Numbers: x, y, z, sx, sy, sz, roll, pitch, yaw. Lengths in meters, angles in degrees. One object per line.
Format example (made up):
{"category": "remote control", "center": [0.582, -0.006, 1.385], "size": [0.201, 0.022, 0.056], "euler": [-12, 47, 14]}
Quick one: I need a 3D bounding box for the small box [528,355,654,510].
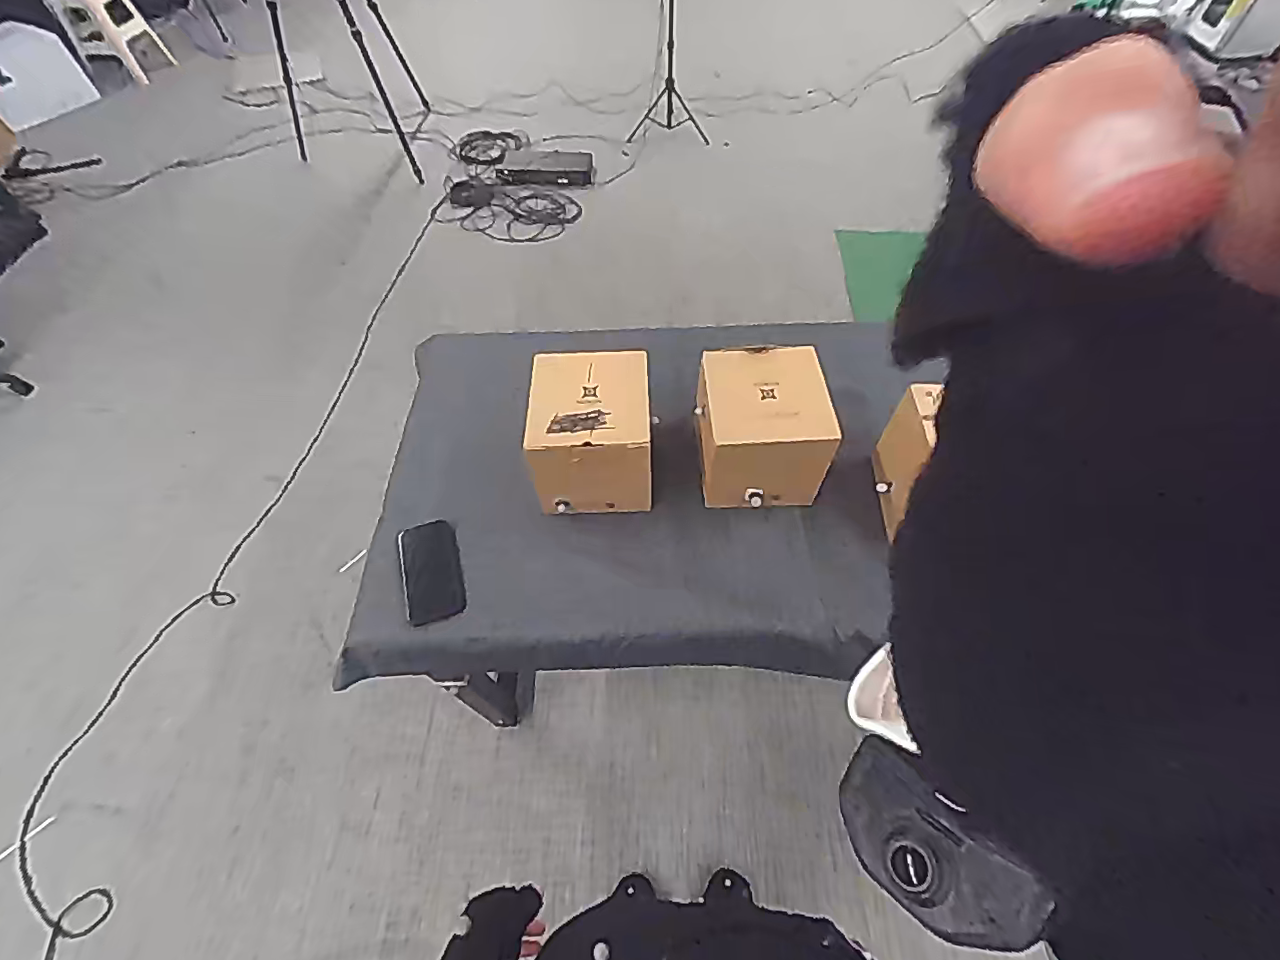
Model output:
{"category": "small box", "center": [-0.063, -0.064, 0.813], "size": [0.168, 0.176, 0.179], "euler": [-2, 55, 0]}

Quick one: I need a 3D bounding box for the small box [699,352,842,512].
{"category": "small box", "center": [0.182, -0.069, 0.816], "size": [0.168, 0.176, 0.179], "euler": [-3, 57, 0]}

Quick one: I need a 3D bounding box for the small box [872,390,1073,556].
{"category": "small box", "center": [0.448, -0.005, 0.764], "size": [0.168, 0.176, 0.179], "euler": [3, 56, 3]}
